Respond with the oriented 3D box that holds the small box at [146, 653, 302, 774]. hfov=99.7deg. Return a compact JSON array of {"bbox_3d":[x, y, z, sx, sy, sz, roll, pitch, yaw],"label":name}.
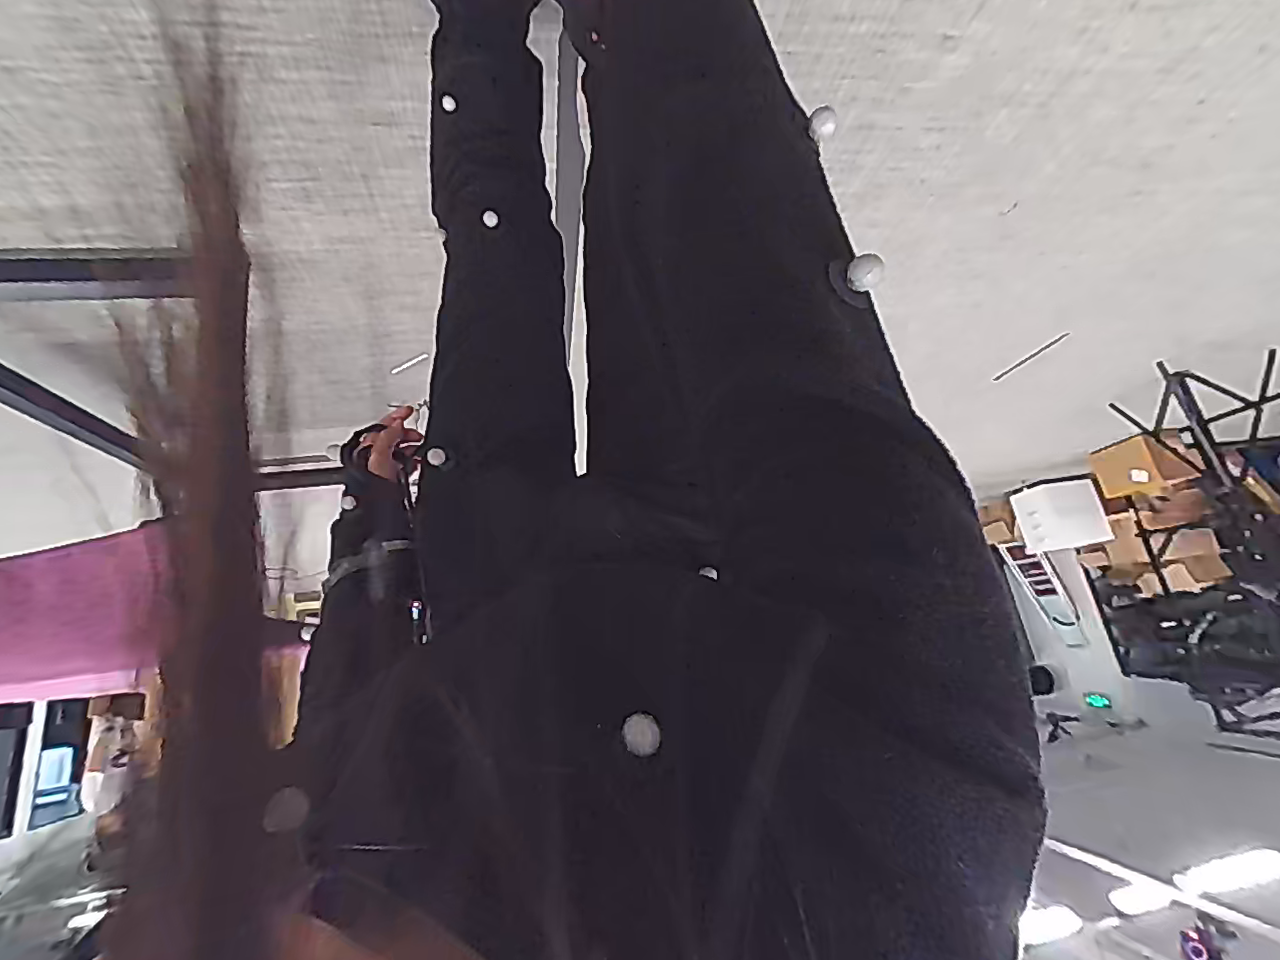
[{"bbox_3d":[-0.749,0.415,0.992,0.179,0.176,0.168,-6,163,-10],"label":"small box"}]
